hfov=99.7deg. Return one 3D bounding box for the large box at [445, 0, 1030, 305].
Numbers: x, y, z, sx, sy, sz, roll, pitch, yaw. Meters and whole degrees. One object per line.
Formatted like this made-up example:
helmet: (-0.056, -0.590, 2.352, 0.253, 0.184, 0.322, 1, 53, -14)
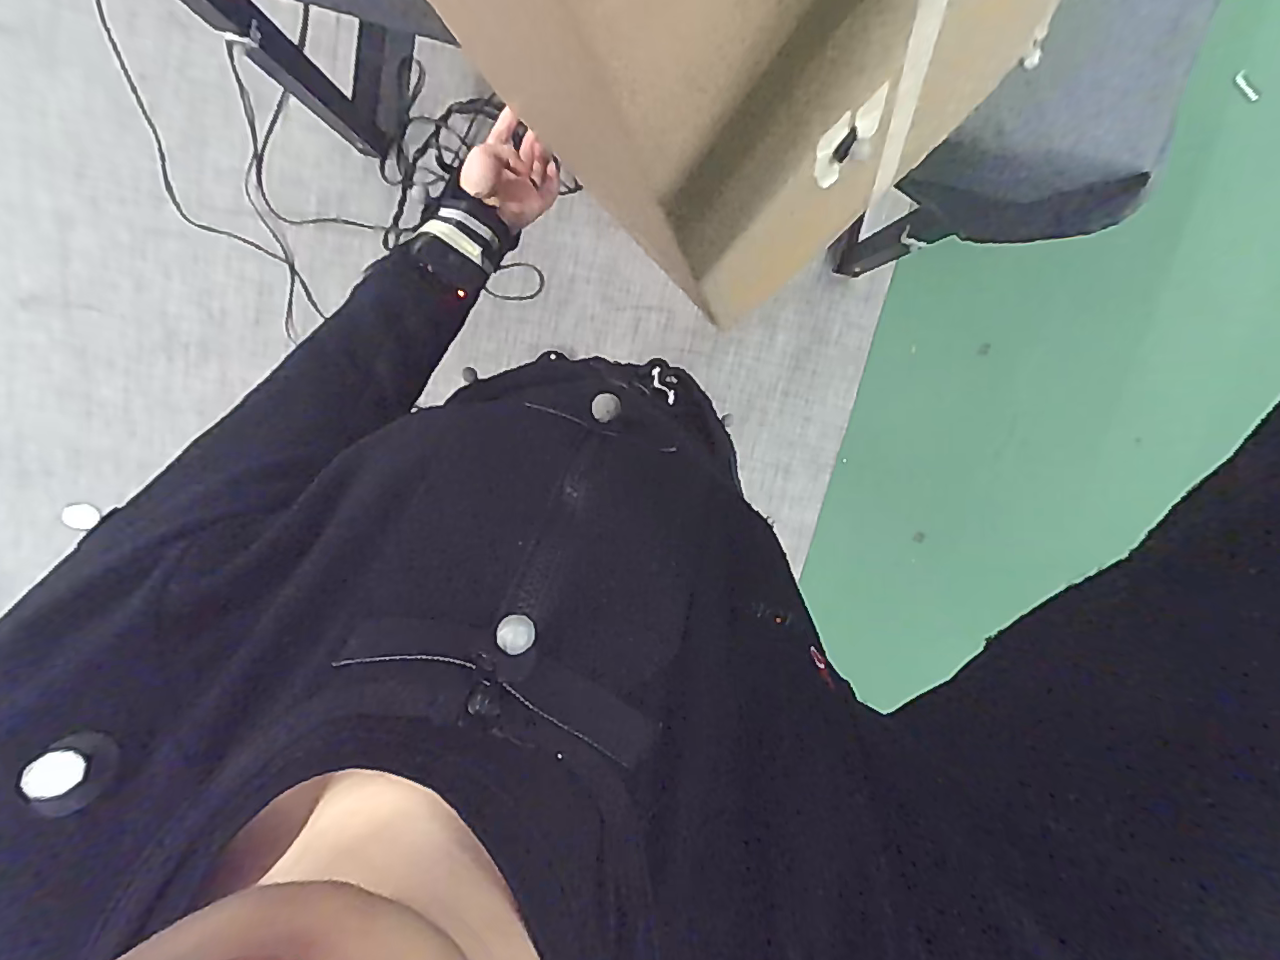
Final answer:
large box: (0.033, -0.357, 0.273, 0.320, 0.408, 0.320, -43, 81, 12)
